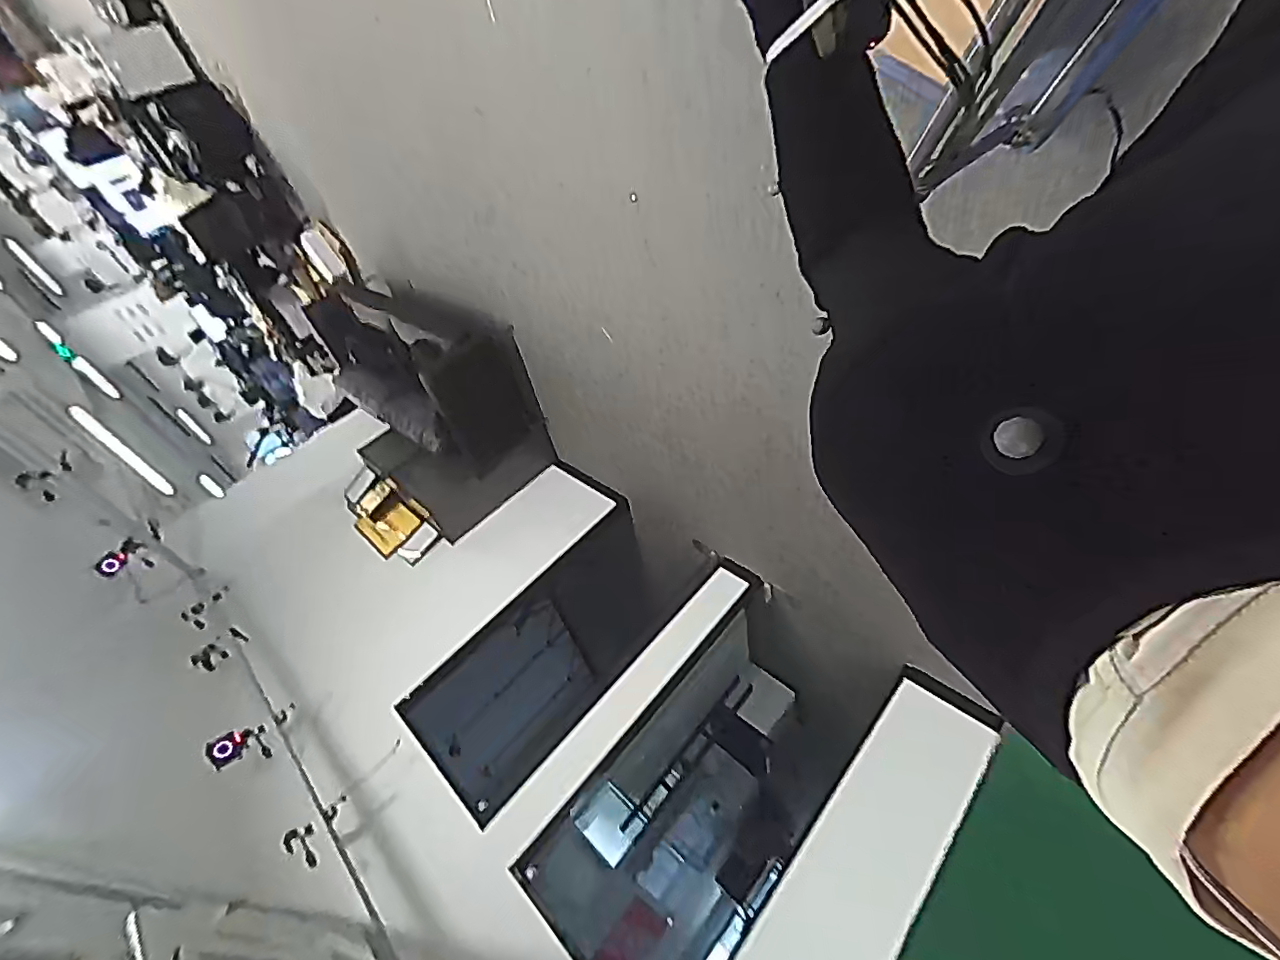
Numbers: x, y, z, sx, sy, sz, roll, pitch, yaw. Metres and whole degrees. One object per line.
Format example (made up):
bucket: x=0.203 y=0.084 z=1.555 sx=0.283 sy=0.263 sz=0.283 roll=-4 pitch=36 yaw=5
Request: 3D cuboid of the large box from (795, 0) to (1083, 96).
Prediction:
large box: x=0.527 y=-0.901 z=0.848 sx=0.408 sy=0.320 sz=0.320 roll=43 pitch=154 yaw=14
